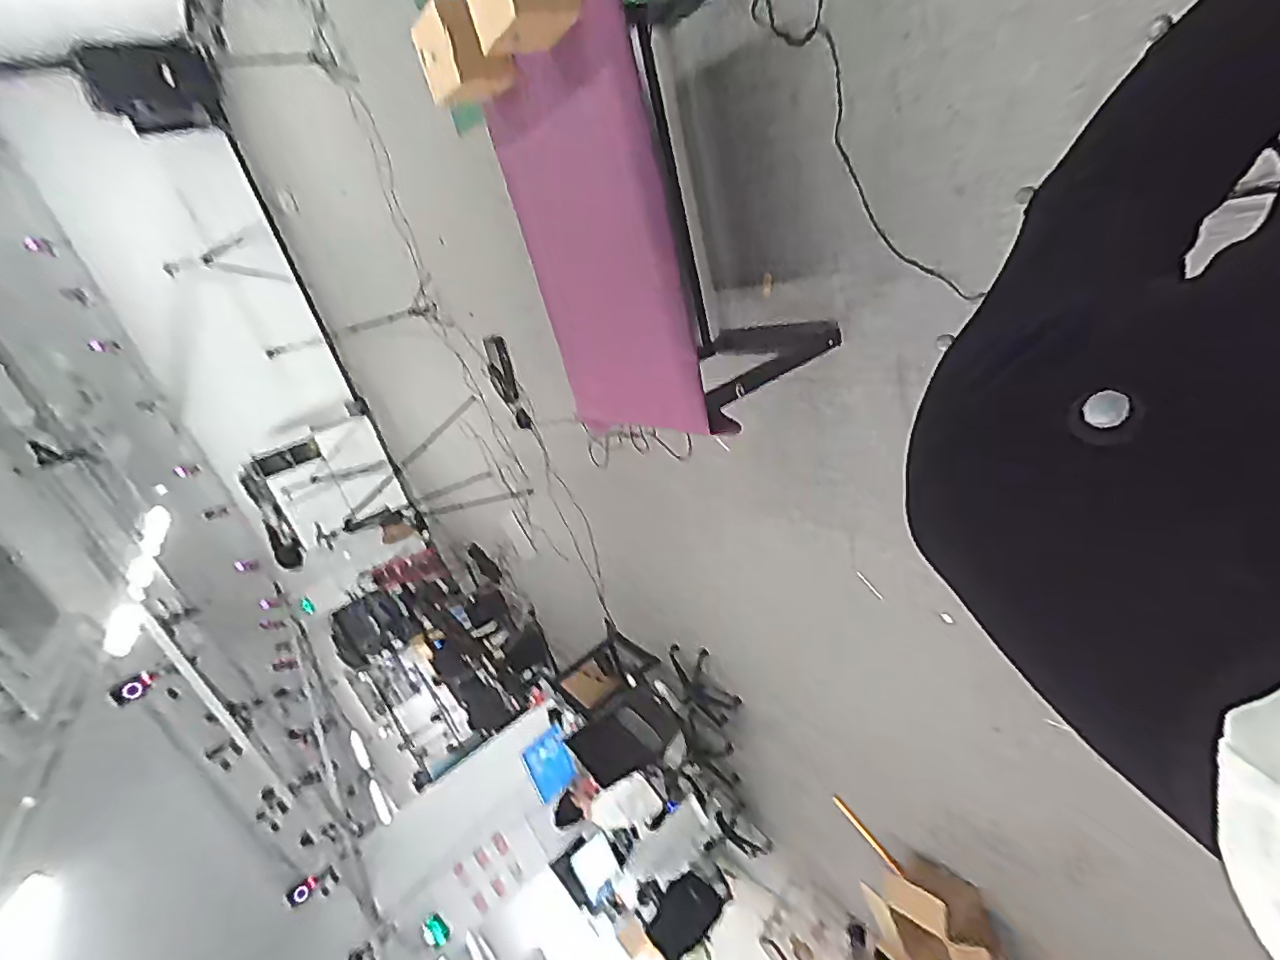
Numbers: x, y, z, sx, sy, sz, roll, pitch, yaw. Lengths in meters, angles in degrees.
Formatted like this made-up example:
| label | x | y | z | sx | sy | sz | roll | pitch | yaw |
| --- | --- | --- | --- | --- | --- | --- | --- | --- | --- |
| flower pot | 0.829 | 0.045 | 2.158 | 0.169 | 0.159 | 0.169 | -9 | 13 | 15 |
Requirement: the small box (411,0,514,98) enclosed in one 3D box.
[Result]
| label | x | y | z | sx | sy | sz | roll | pitch | yaw |
| --- | --- | --- | --- | --- | --- | --- | --- | --- | --- |
| small box | -0.438 | -1.092 | 1.362 | 0.179 | 0.176 | 0.168 | 15 | 128 | 47 |

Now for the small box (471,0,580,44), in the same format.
| label | x | y | z | sx | sy | sz | roll | pitch | yaw |
| --- | --- | --- | --- | --- | --- | --- | --- | --- | --- |
| small box | -0.247 | -1.038 | 1.116 | 0.179 | 0.176 | 0.168 | 17 | 131 | 51 |
